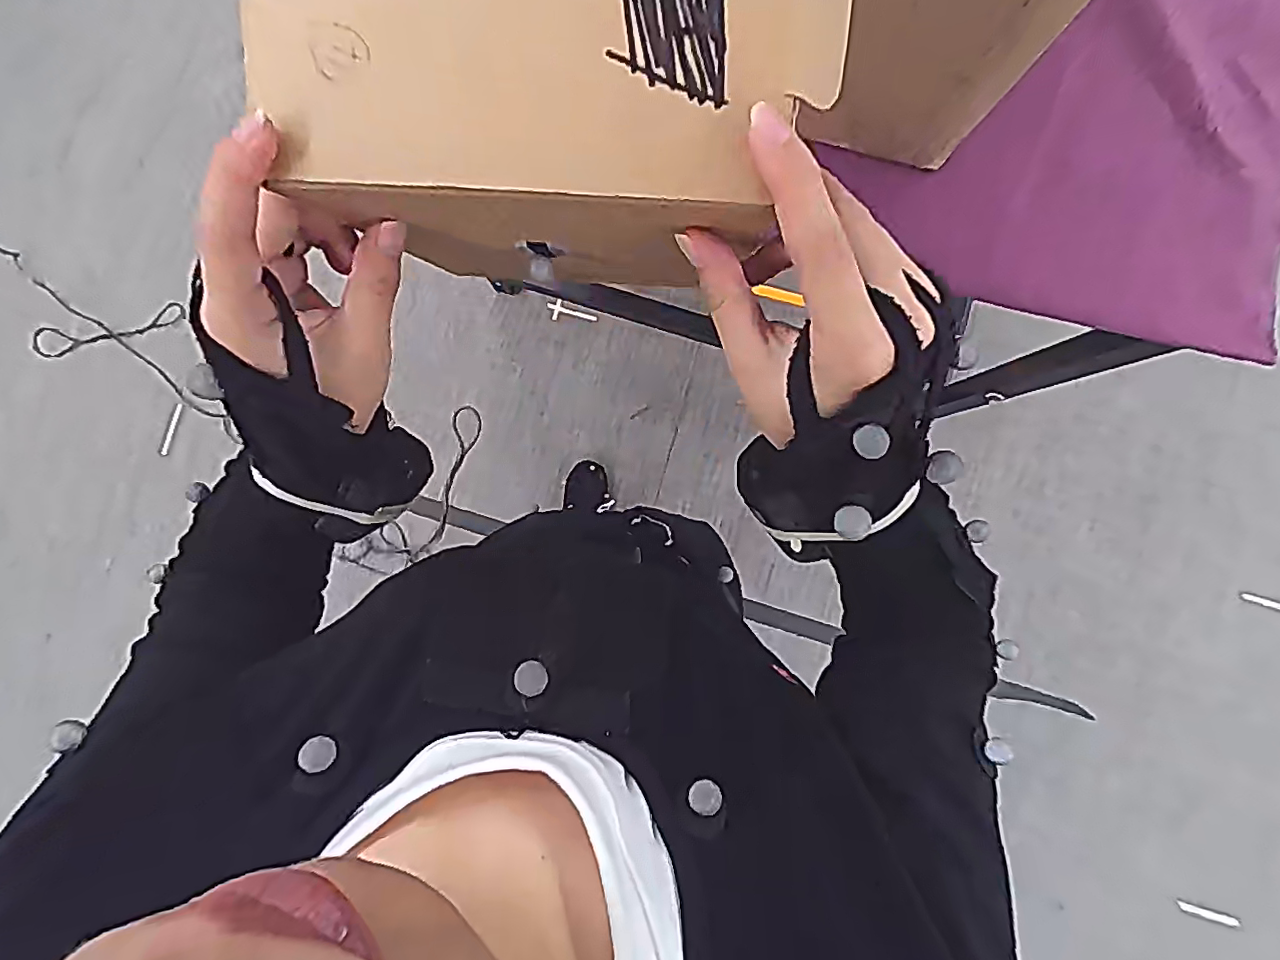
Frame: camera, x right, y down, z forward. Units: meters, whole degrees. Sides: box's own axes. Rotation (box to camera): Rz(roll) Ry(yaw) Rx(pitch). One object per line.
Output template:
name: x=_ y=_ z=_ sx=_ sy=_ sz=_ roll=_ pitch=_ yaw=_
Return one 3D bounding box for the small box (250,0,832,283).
small box: x=-0.026 y=-0.186 z=0.233 sx=0.179 sy=0.176 sz=0.168 roll=4 pitch=101 yaw=3
